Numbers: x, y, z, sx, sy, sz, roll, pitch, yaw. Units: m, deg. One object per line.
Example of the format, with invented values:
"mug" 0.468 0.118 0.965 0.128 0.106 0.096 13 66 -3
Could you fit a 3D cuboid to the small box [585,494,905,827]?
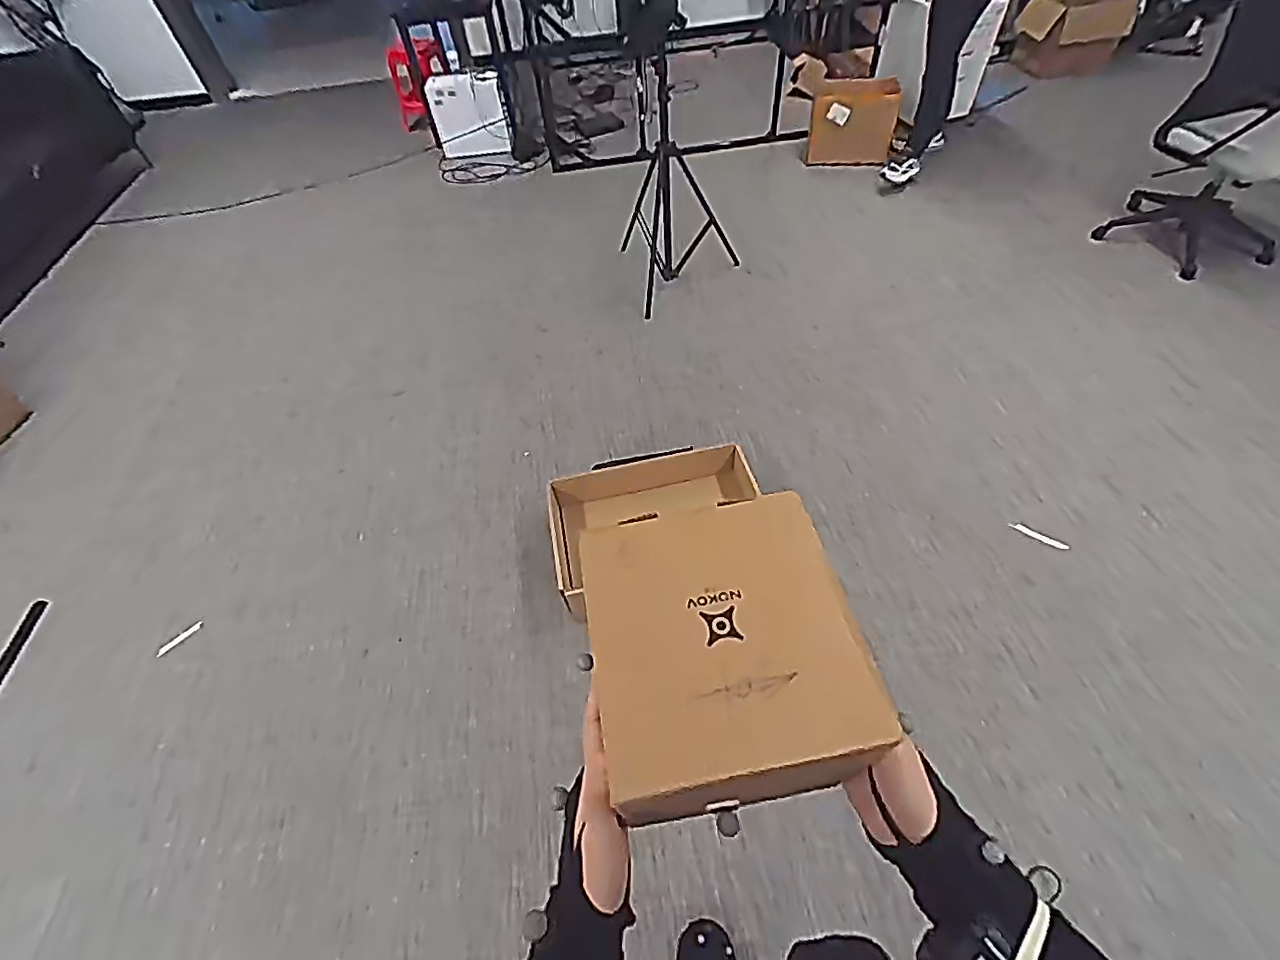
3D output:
"small box" 0.058 0.139 0.409 0.168 0.176 0.179 -11 53 -3
